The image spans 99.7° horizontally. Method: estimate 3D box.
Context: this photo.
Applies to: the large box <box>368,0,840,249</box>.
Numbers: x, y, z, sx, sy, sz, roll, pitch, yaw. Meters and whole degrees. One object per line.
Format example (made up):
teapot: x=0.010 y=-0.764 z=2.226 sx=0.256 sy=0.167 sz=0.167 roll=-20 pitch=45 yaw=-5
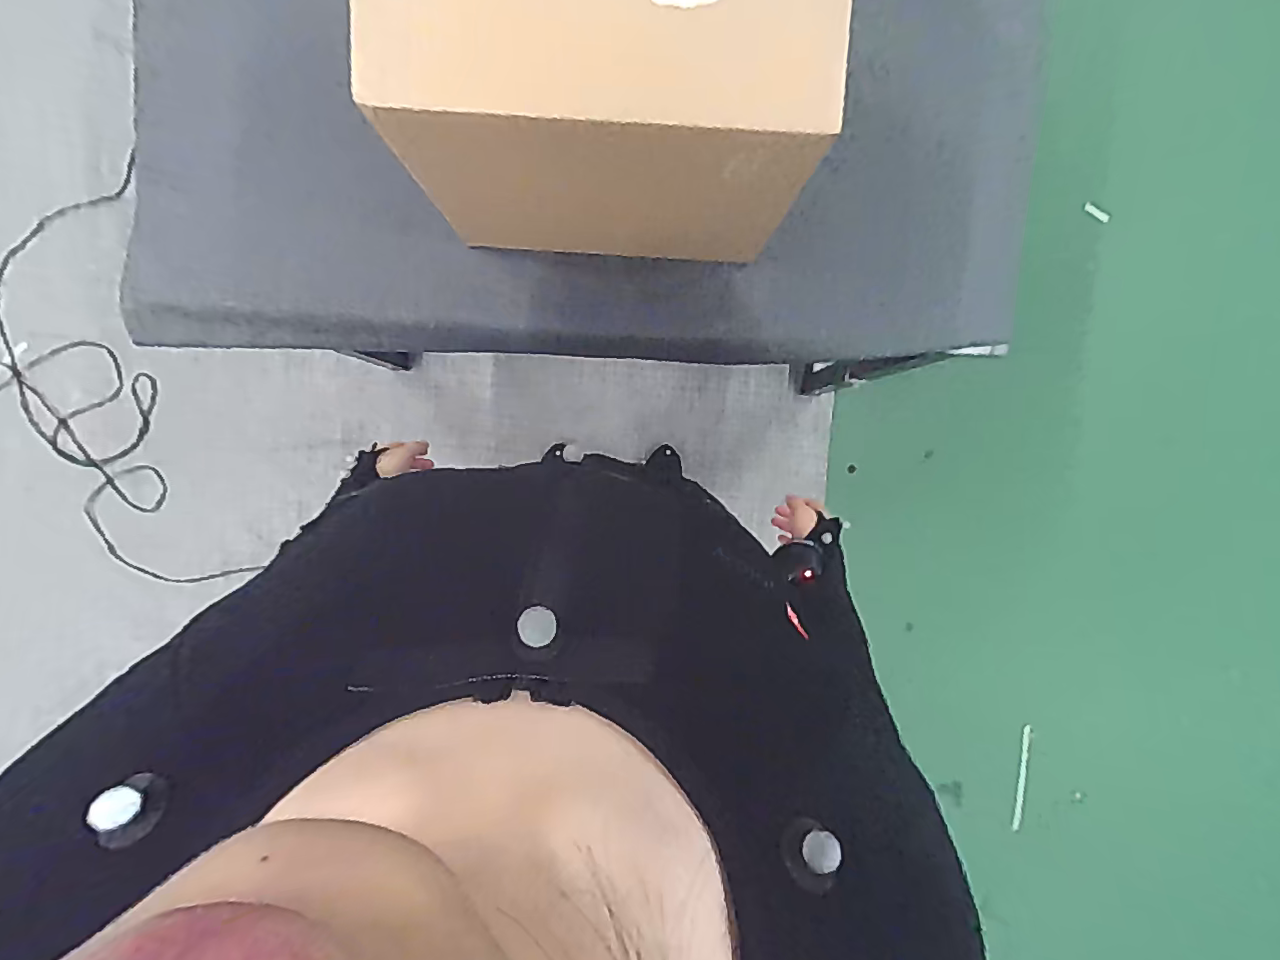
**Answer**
large box: x=-0.032 y=-0.469 z=0.598 sx=0.408 sy=0.320 sz=0.320 roll=2 pitch=94 yaw=-2
